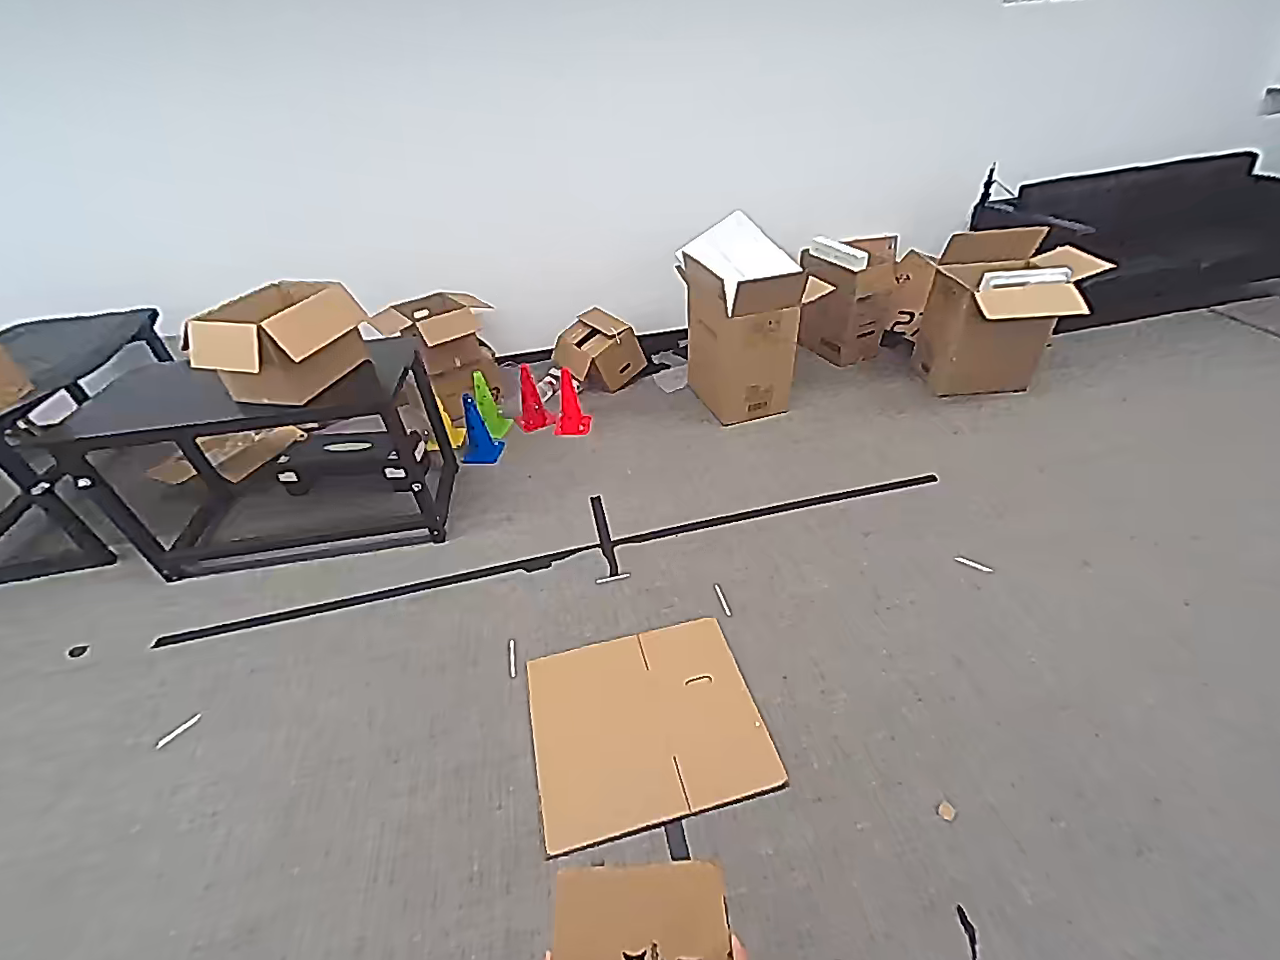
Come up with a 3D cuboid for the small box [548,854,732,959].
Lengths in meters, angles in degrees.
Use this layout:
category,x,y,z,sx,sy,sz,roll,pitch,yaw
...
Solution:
category,x,y,z,sx,sy,sz,roll,pitch,yaw
small box,-0.004,0.510,0.560,0.179,0.176,0.168,1,42,-6
